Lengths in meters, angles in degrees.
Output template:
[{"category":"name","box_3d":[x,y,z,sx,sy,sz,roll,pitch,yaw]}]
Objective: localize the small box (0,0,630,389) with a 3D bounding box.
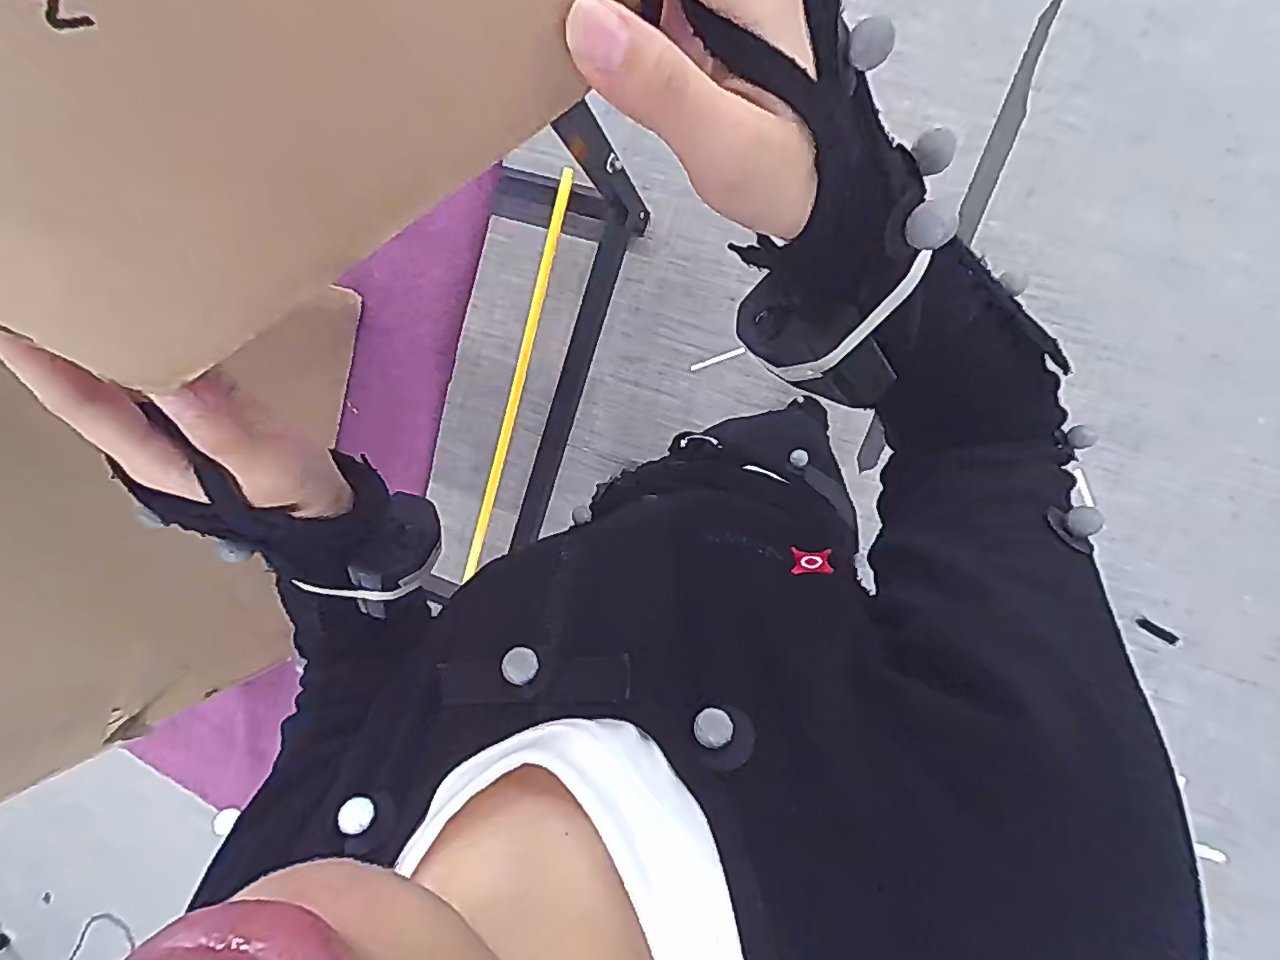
[{"category":"small box","box_3d":[-0.133,-0.164,0.133,0.179,0.168,0.176,-31,59,7]}]
